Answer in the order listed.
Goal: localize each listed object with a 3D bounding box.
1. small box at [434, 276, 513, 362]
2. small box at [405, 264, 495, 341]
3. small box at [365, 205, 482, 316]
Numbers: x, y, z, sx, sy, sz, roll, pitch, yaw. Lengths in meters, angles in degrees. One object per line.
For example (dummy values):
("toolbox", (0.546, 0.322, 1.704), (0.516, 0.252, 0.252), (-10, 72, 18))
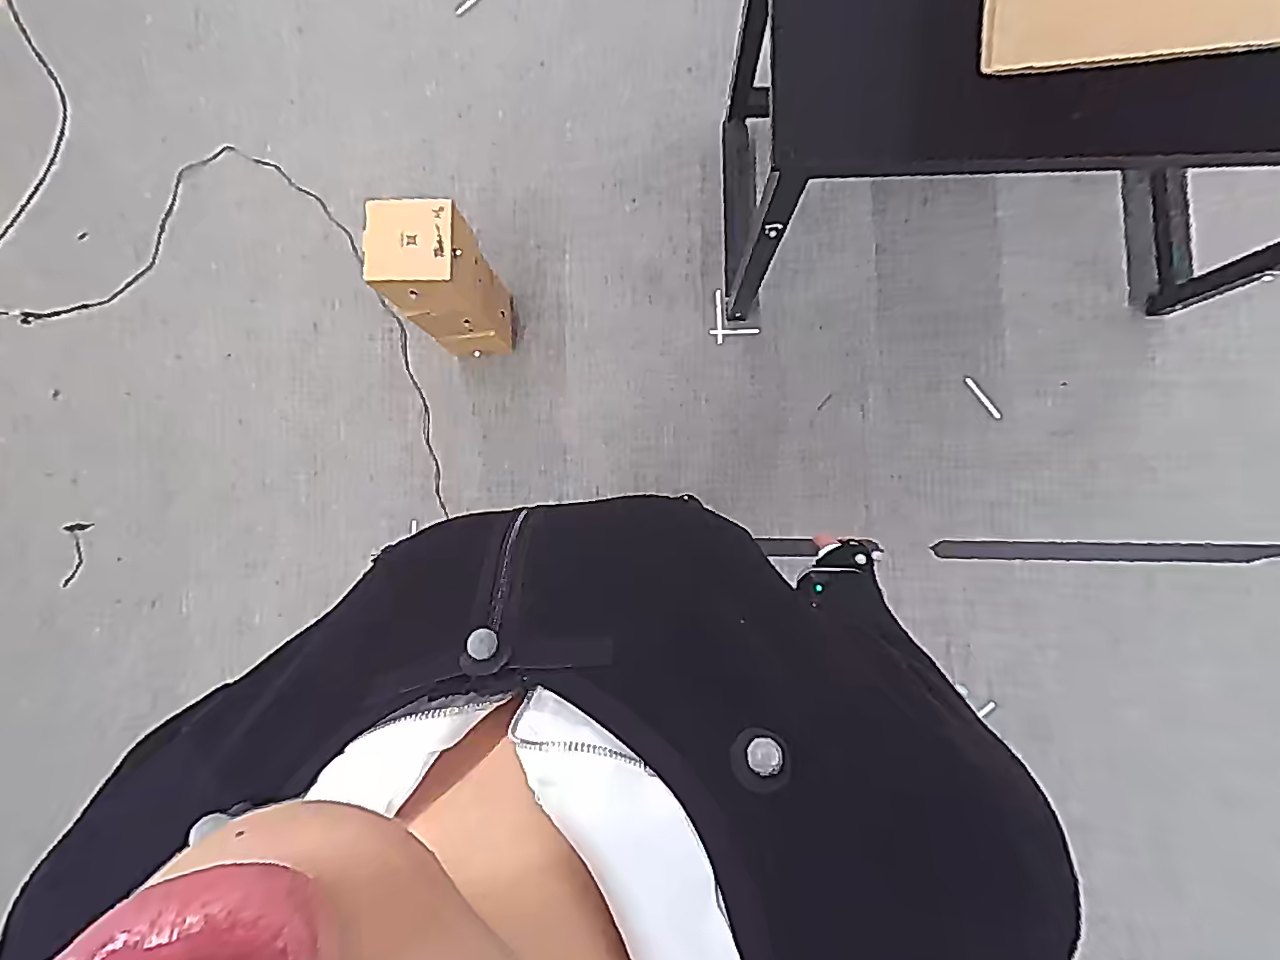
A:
("small box", (-0.451, -0.433, 1.472), (0.168, 0.176, 0.179), (-4, 87, 2))
("small box", (-0.460, -0.449, 1.312), (0.168, 0.176, 0.179), (-7, 85, 1))
("small box", (-0.452, -0.457, 1.147), (0.179, 0.176, 0.168), (0, 87, 3))
